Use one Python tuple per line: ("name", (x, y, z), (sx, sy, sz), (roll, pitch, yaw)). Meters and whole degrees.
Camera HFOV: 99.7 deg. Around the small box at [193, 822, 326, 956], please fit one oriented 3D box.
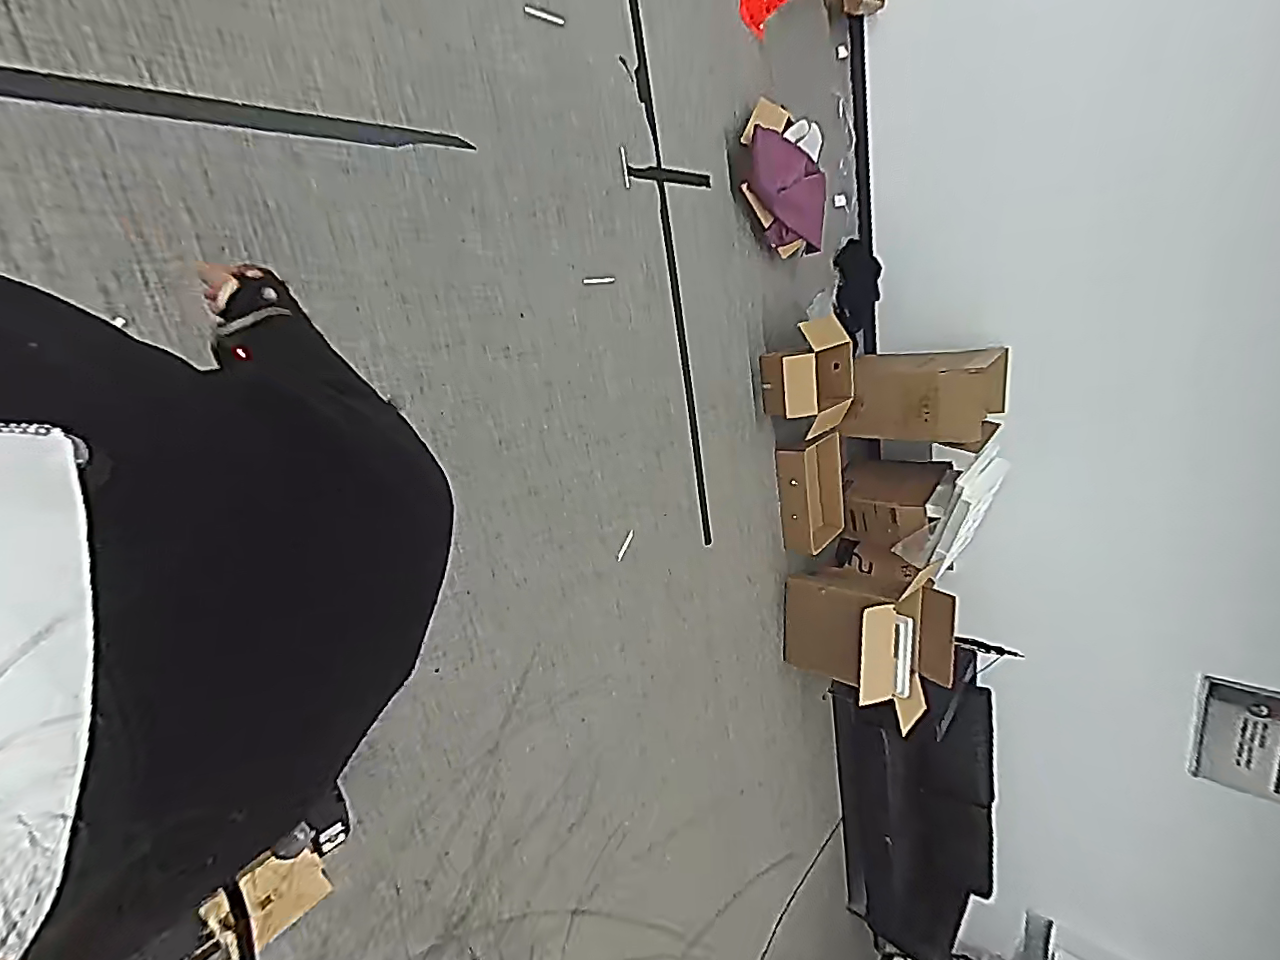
("small box", (-0.777, 0.790, 1.107), (0.179, 0.176, 0.168), (-30, 115, -41))
